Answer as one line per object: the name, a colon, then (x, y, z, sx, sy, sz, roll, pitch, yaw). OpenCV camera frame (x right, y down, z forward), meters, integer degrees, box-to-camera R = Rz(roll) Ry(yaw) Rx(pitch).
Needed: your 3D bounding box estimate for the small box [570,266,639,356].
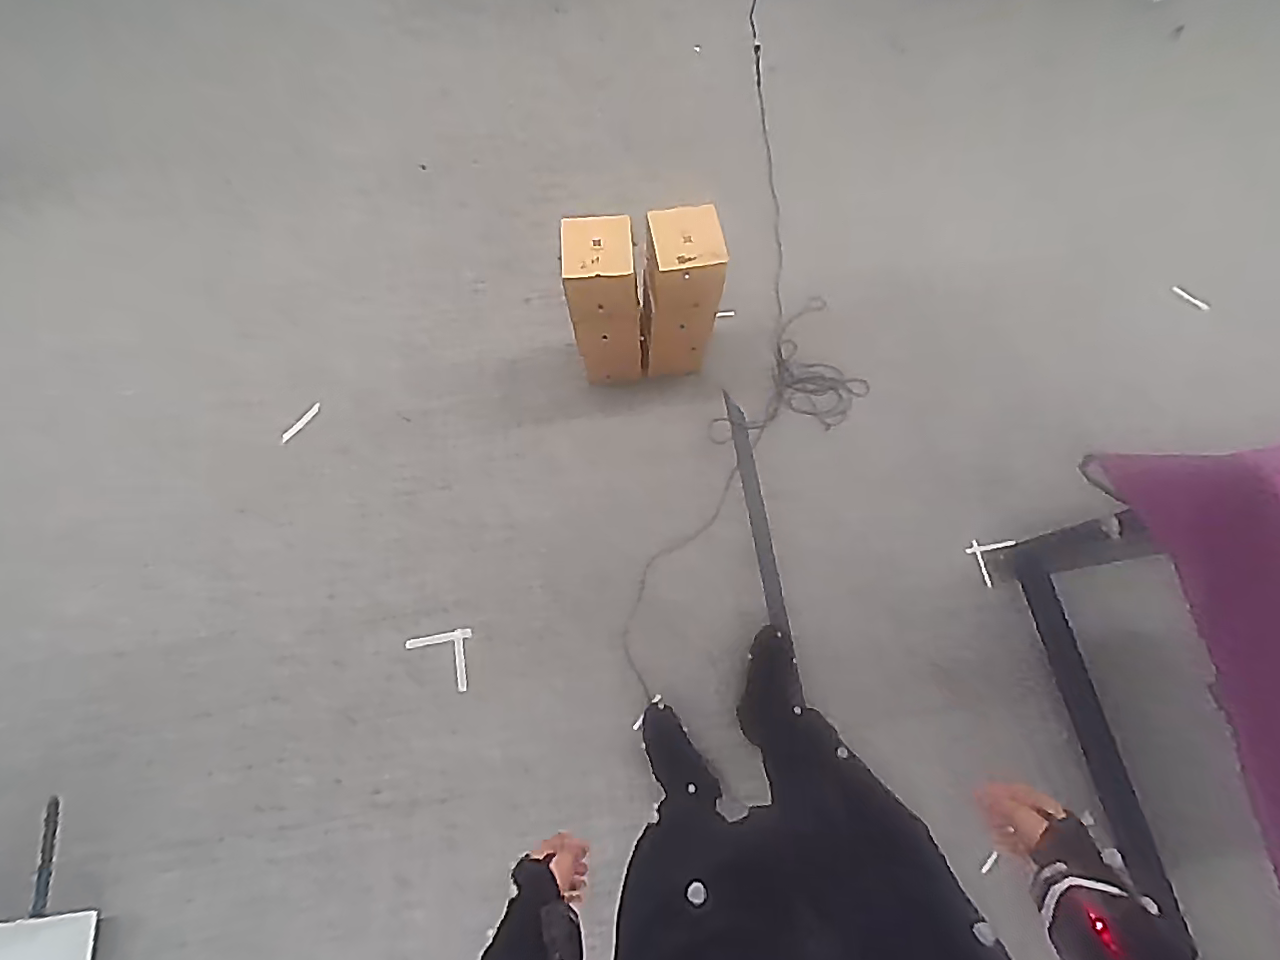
small box: (-0.094, -0.451, 1.463, 0.179, 0.176, 0.168, -5, 72, 1)

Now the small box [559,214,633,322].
small box: (-0.104, -0.509, 1.308, 0.168, 0.176, 0.179, -4, 72, 0)
